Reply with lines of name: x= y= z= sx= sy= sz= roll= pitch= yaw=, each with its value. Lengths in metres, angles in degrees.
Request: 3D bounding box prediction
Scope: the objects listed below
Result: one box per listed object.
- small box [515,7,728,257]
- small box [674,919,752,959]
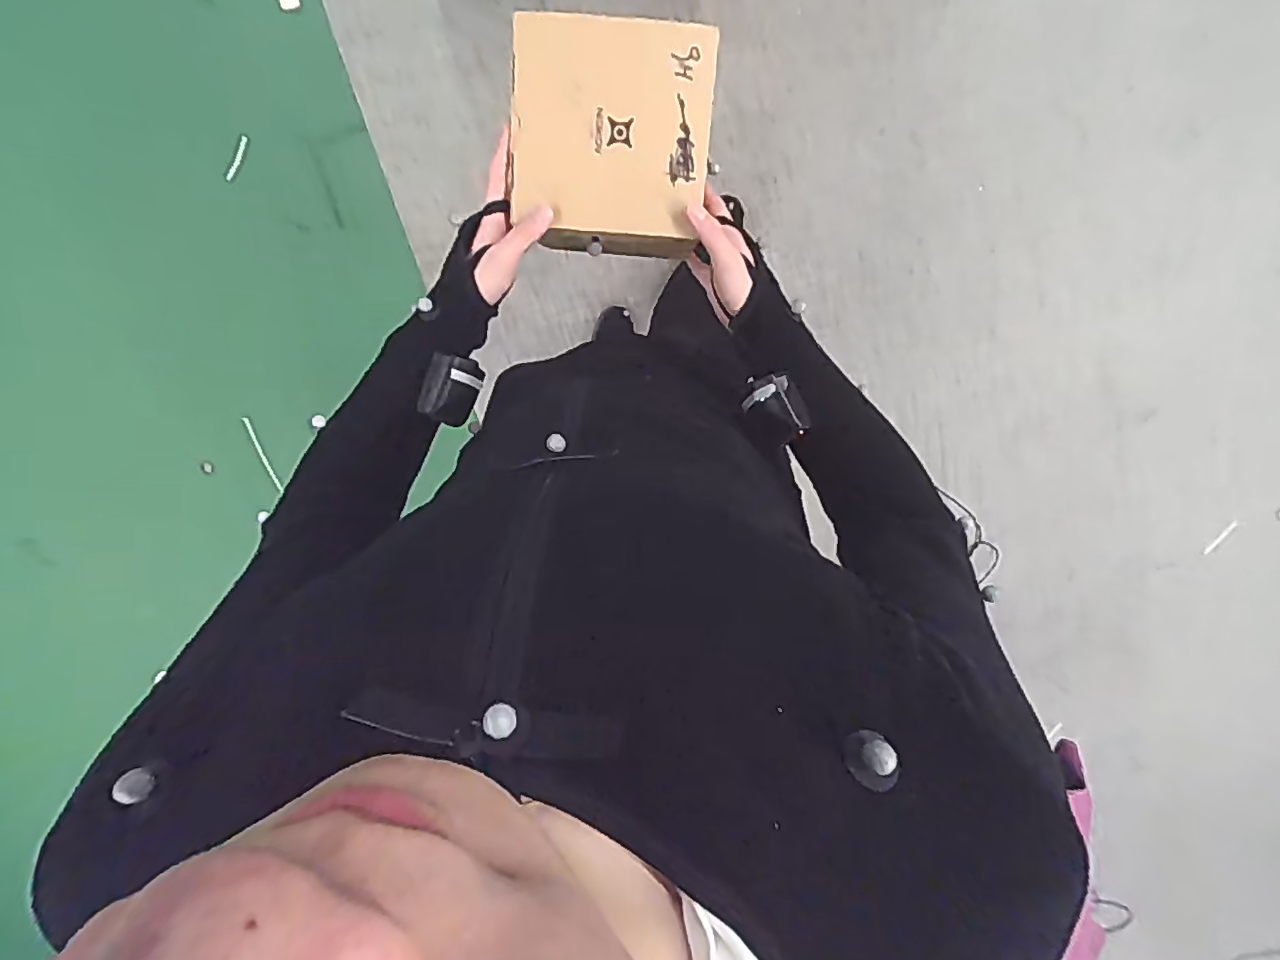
small box: x=-0.017 y=-0.327 z=0.545 sx=0.179 sy=0.176 sz=0.168 roll=5 pitch=106 yaw=0
small box: x=0.175 y=1.152 z=1.232 sx=0.179 sy=0.176 sz=0.168 roll=-11 pitch=110 yaw=0
